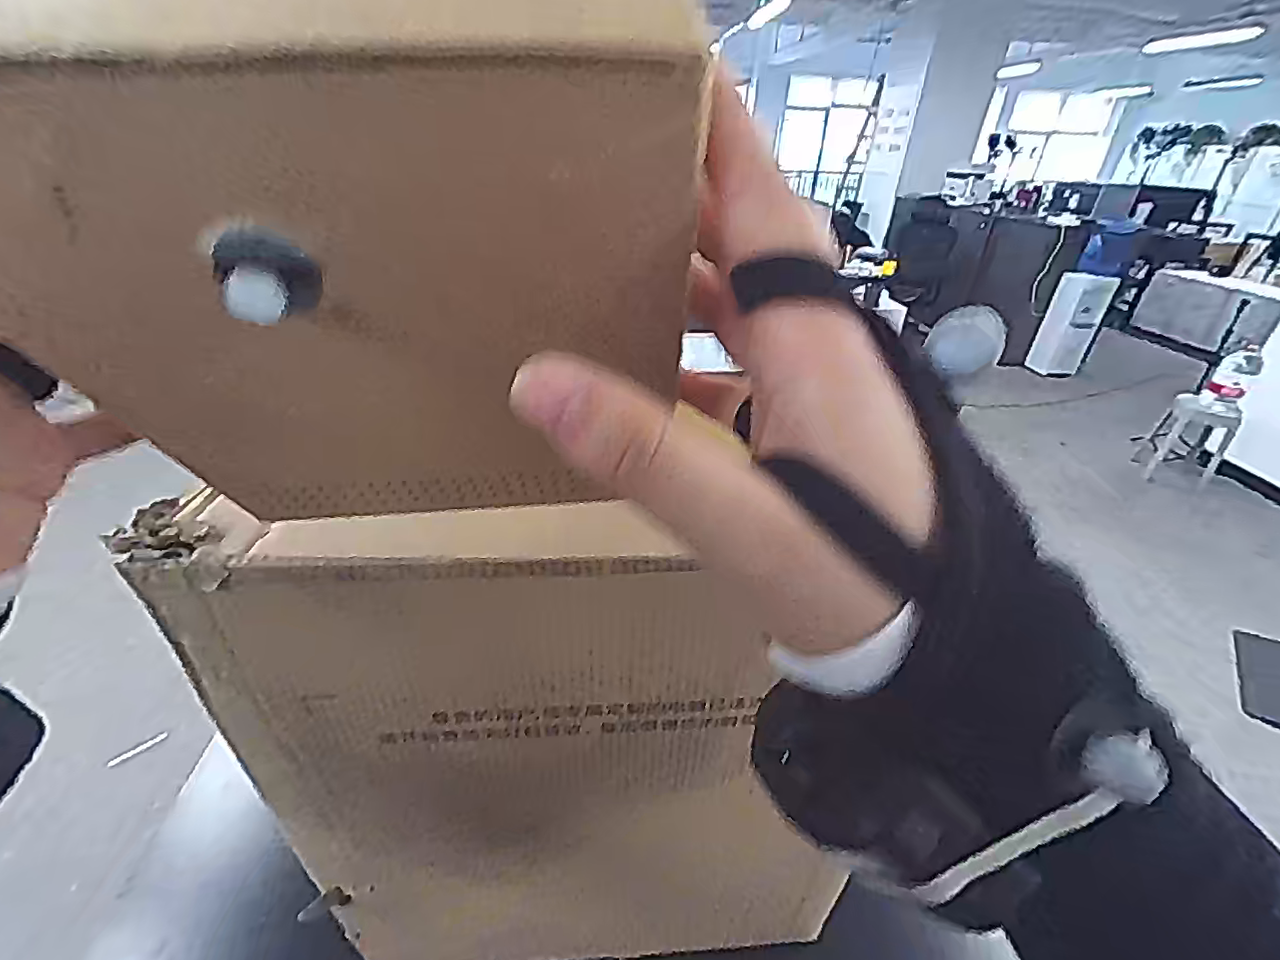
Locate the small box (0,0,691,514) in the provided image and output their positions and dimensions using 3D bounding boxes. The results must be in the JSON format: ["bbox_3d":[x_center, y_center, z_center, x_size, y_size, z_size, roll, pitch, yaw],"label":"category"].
[{"bbox_3d":[-0.080,-0.095,0.201,0.179,0.176,0.168,-3,61,-2],"label":"small box"}]
